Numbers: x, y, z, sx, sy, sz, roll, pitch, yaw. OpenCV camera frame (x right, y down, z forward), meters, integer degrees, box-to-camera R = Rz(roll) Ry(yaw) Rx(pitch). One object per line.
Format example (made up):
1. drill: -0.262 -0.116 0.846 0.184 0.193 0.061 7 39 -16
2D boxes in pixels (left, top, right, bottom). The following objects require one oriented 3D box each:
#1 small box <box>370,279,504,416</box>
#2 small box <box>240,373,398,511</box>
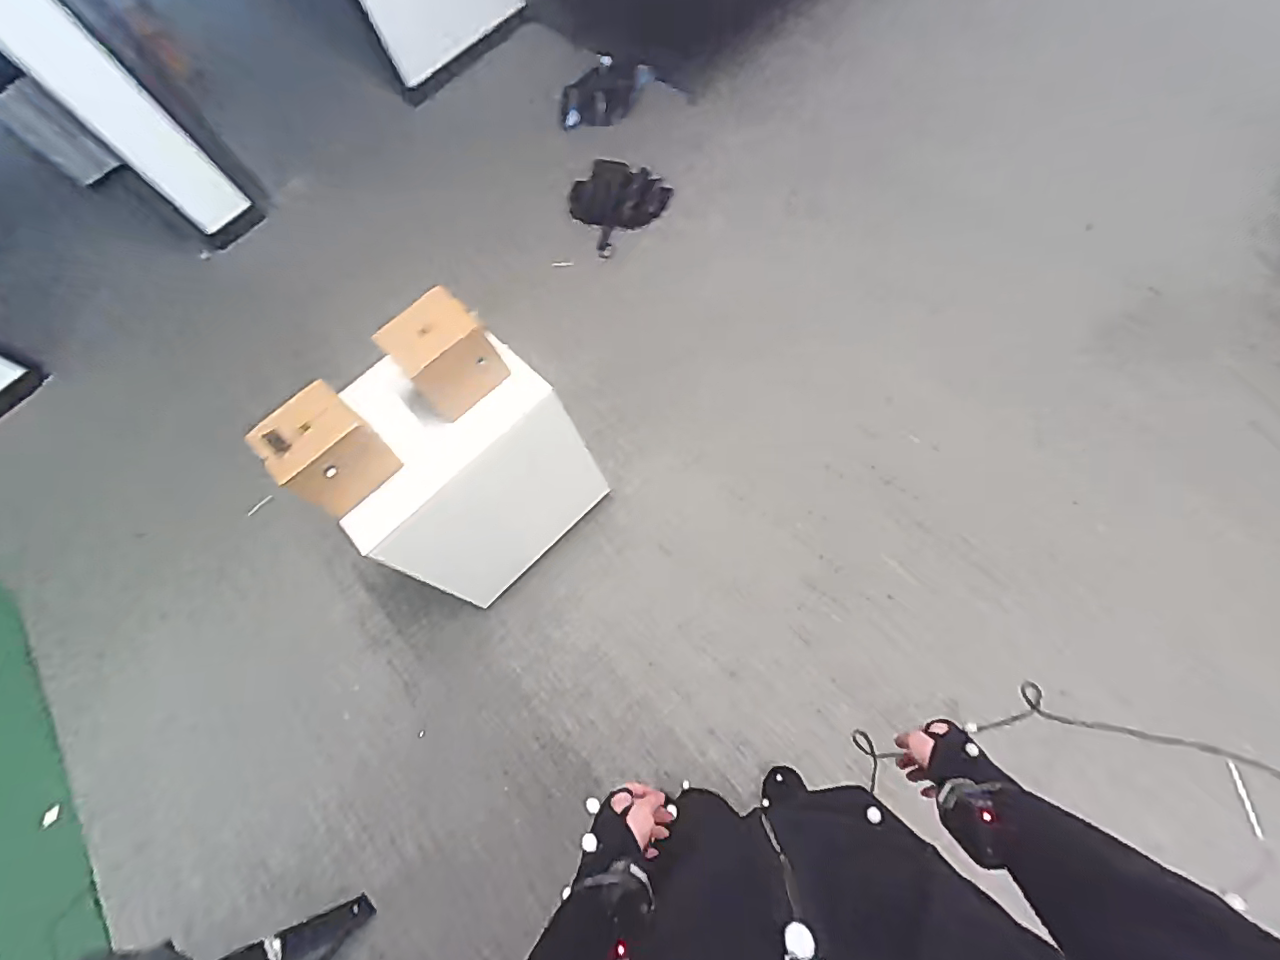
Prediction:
1. small box: -0.405 -0.269 1.117 0.179 0.176 0.168 -43 65 -8
2. small box: -0.621 -0.067 1.064 0.179 0.176 0.168 -43 66 -12
